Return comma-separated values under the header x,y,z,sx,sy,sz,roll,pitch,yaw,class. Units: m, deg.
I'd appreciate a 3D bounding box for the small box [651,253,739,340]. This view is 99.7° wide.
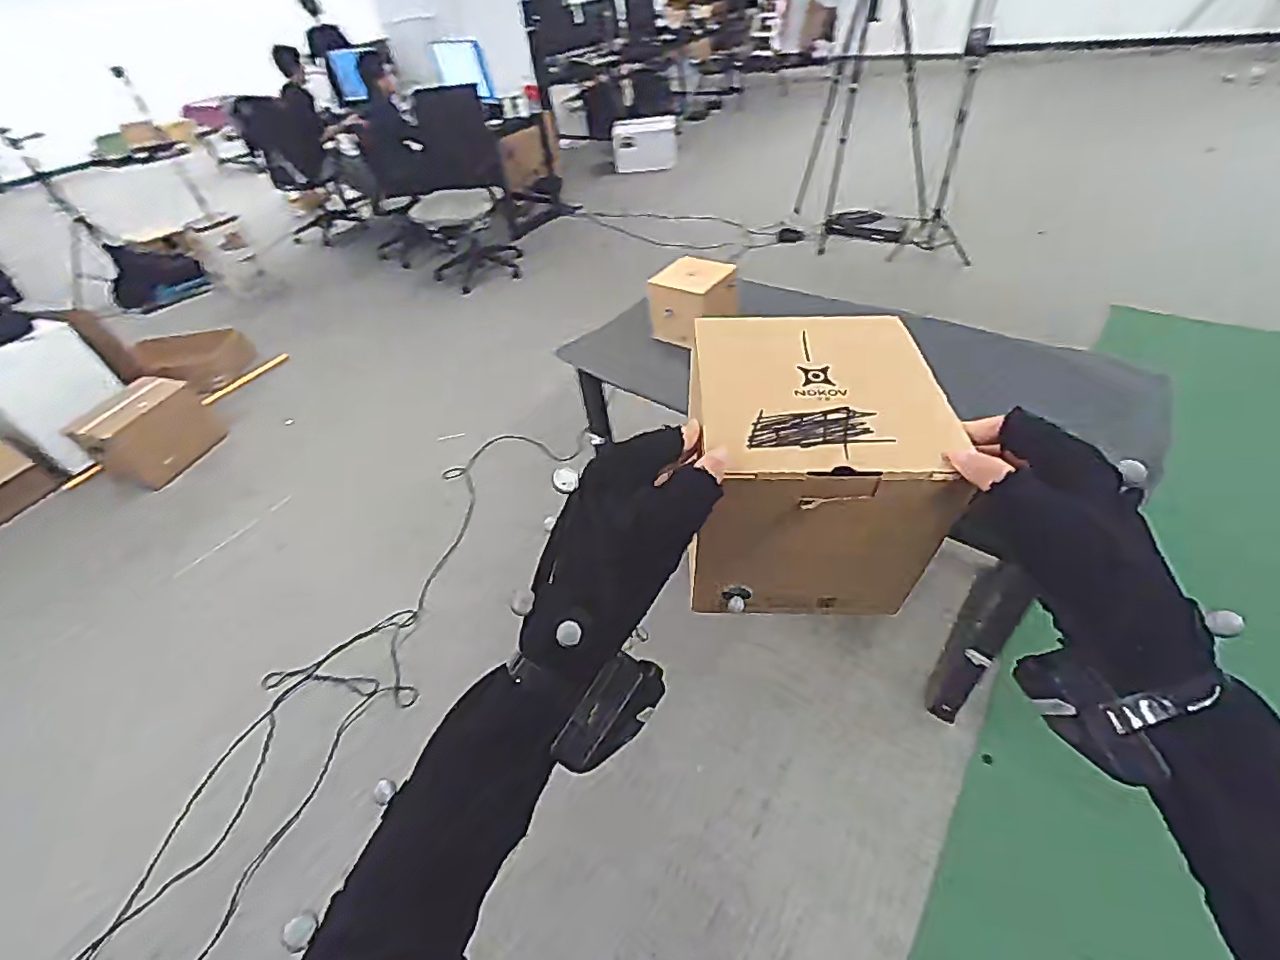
x,y,z,sx,sy,sz,roll,pitch,yaw,class
0.151,-0.473,1.426,0.168,0.176,0.179,24,52,29,small box

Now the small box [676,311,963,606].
x,y,z,sx,sy,sz,roll,pitch,yaw,class
0.114,-0.013,0.432,0.168,0.176,0.179,0,47,2,small box
